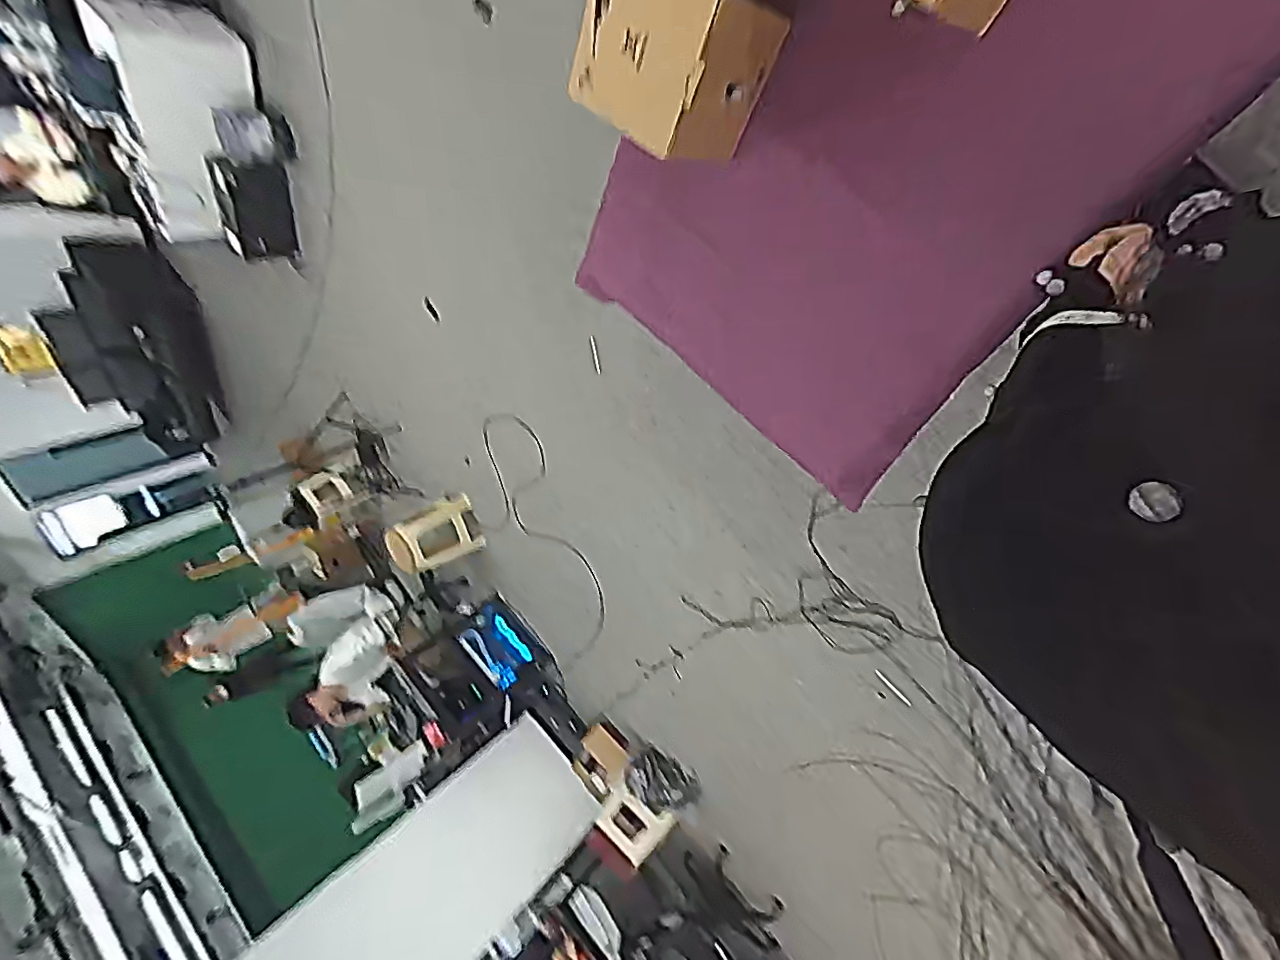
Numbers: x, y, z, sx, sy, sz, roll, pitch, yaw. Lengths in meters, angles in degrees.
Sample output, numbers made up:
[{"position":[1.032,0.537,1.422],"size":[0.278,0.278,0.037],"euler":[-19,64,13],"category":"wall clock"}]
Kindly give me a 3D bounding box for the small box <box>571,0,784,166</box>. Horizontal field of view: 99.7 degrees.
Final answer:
[{"position":[0.048,-0.525,0.679],"size":[0.179,0.176,0.168],"euler":[42,136,14],"category":"small box"}]
